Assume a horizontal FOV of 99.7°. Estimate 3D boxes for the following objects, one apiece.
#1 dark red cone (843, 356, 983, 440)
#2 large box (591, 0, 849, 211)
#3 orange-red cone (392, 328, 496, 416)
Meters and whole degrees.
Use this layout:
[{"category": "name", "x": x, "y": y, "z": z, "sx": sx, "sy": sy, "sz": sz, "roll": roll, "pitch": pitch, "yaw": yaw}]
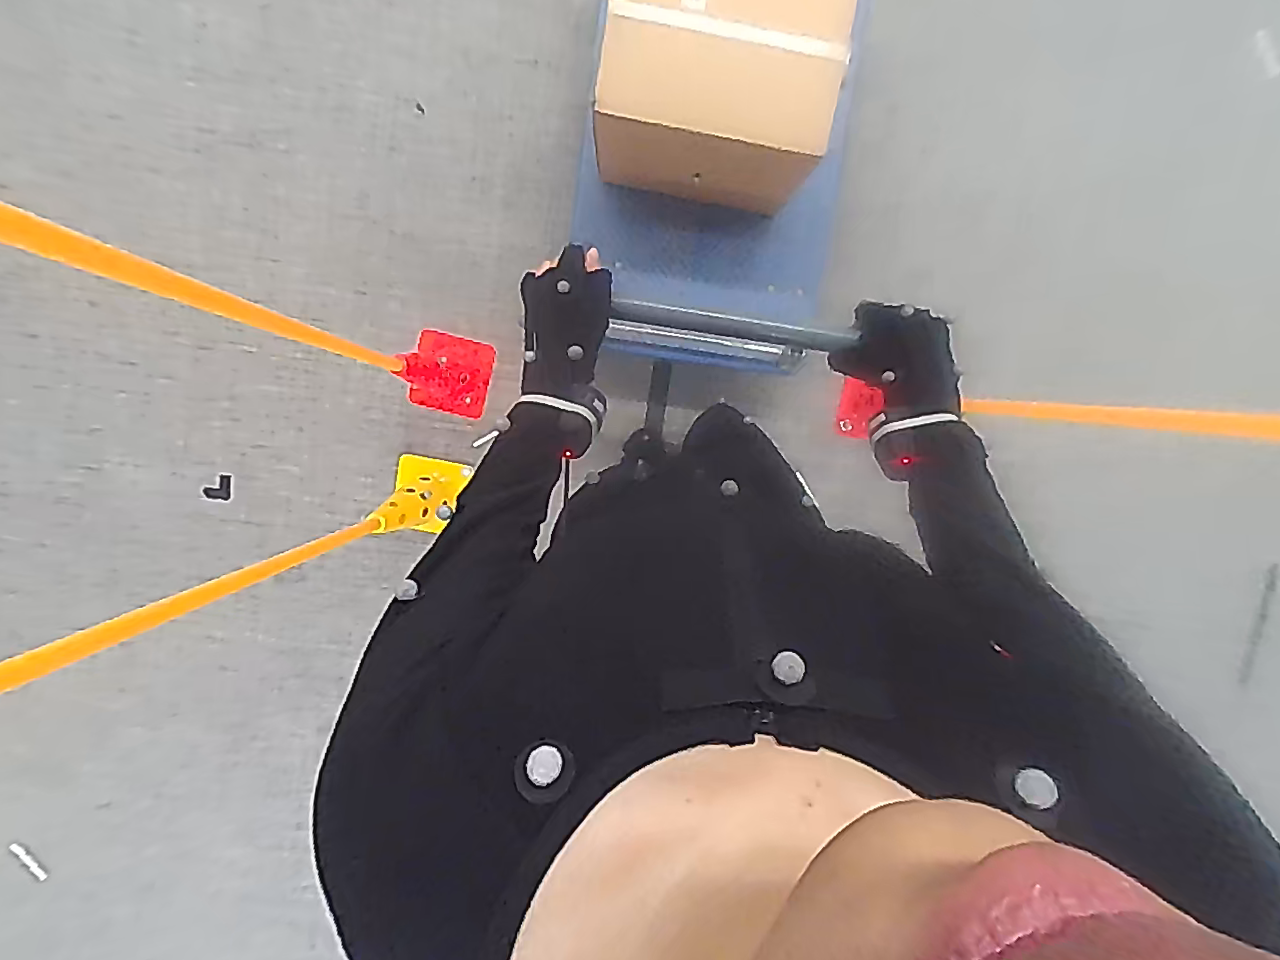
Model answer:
[{"category": "dark red cone", "x": 0.650, "y": -0.193, "z": 1.261, "sx": 0.201, "sy": 0.394, "sz": 0.202, "roll": 7, "pitch": 98, "yaw": -4}, {"category": "large box", "x": 0.136, "y": -0.756, "z": 1.046, "sx": 0.408, "sy": 0.320, "sz": 0.320, "roll": 9, "pitch": 98, "yaw": -2}, {"category": "orange-red cone", "x": -0.482, "y": -0.261, "z": 1.245, "sx": 0.198, "sy": 0.360, "sz": 0.199, "roll": 15, "pitch": 96, "yaw": -4}]
